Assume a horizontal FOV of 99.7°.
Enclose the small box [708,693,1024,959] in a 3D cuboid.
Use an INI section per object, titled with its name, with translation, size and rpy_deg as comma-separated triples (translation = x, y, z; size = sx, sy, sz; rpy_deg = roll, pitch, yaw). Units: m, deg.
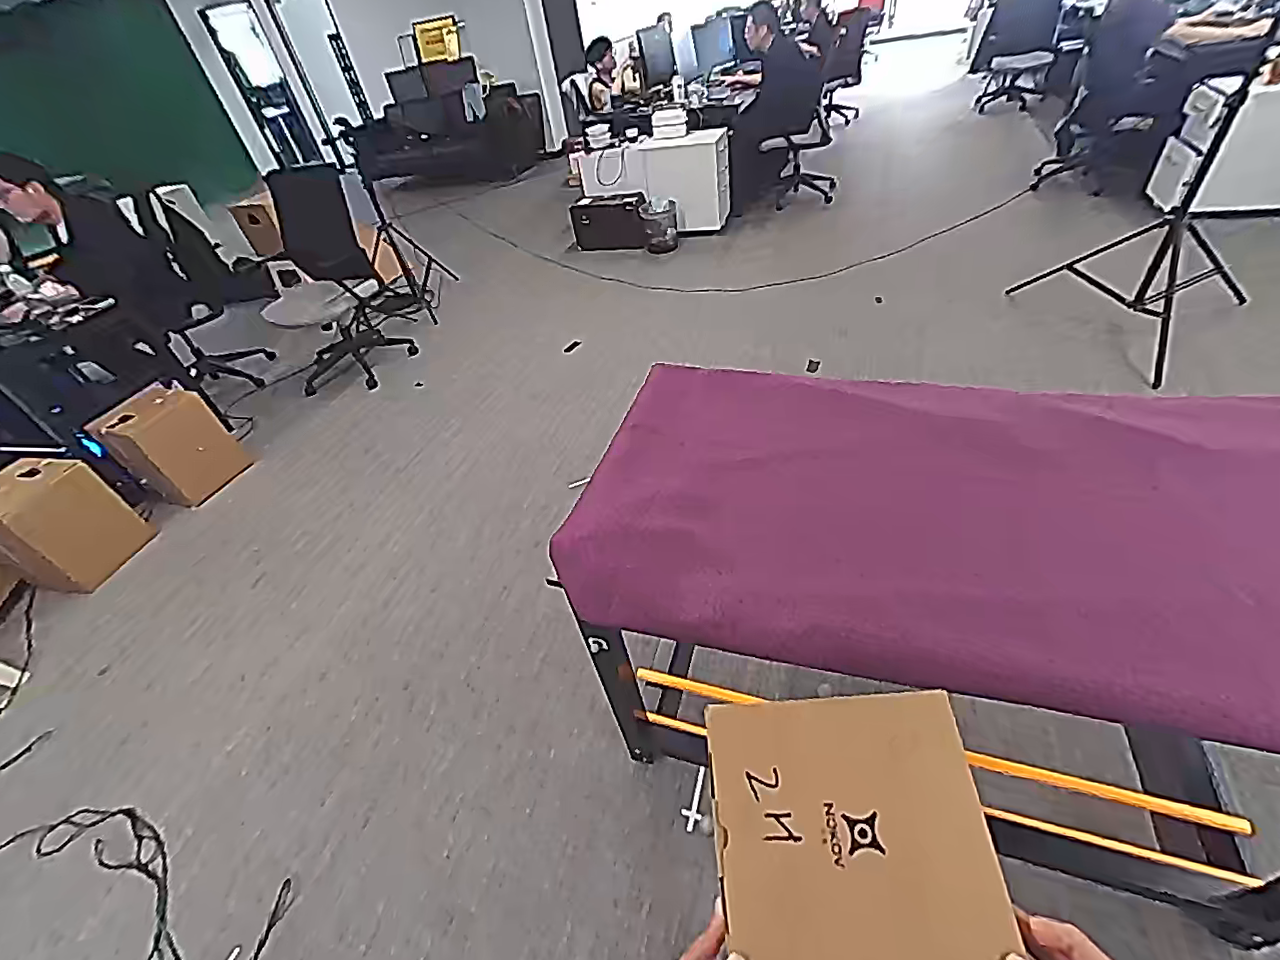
[small box]
translation = 0.149, 0.269, 0.429
size = 0.179, 0.176, 0.168
rpy_deg = -6, 59, 6
